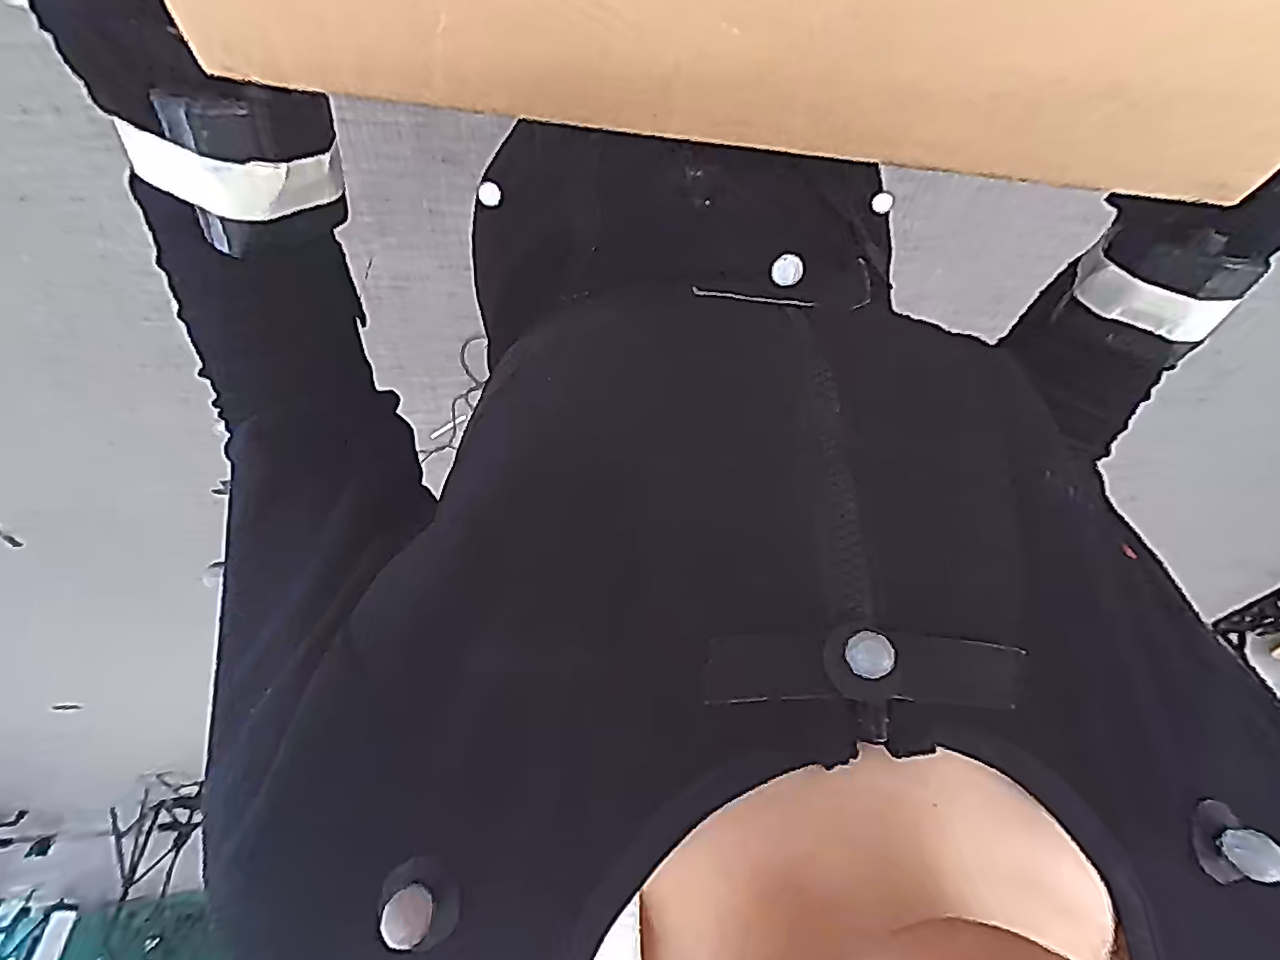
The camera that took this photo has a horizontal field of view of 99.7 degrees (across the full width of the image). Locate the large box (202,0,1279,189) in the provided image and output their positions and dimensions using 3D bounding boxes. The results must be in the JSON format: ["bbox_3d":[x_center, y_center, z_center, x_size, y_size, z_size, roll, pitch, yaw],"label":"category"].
[{"bbox_3d":[0.064,-0.344,0.171,0.408,0.320,0.320,4,146,-6],"label":"large box"}]
